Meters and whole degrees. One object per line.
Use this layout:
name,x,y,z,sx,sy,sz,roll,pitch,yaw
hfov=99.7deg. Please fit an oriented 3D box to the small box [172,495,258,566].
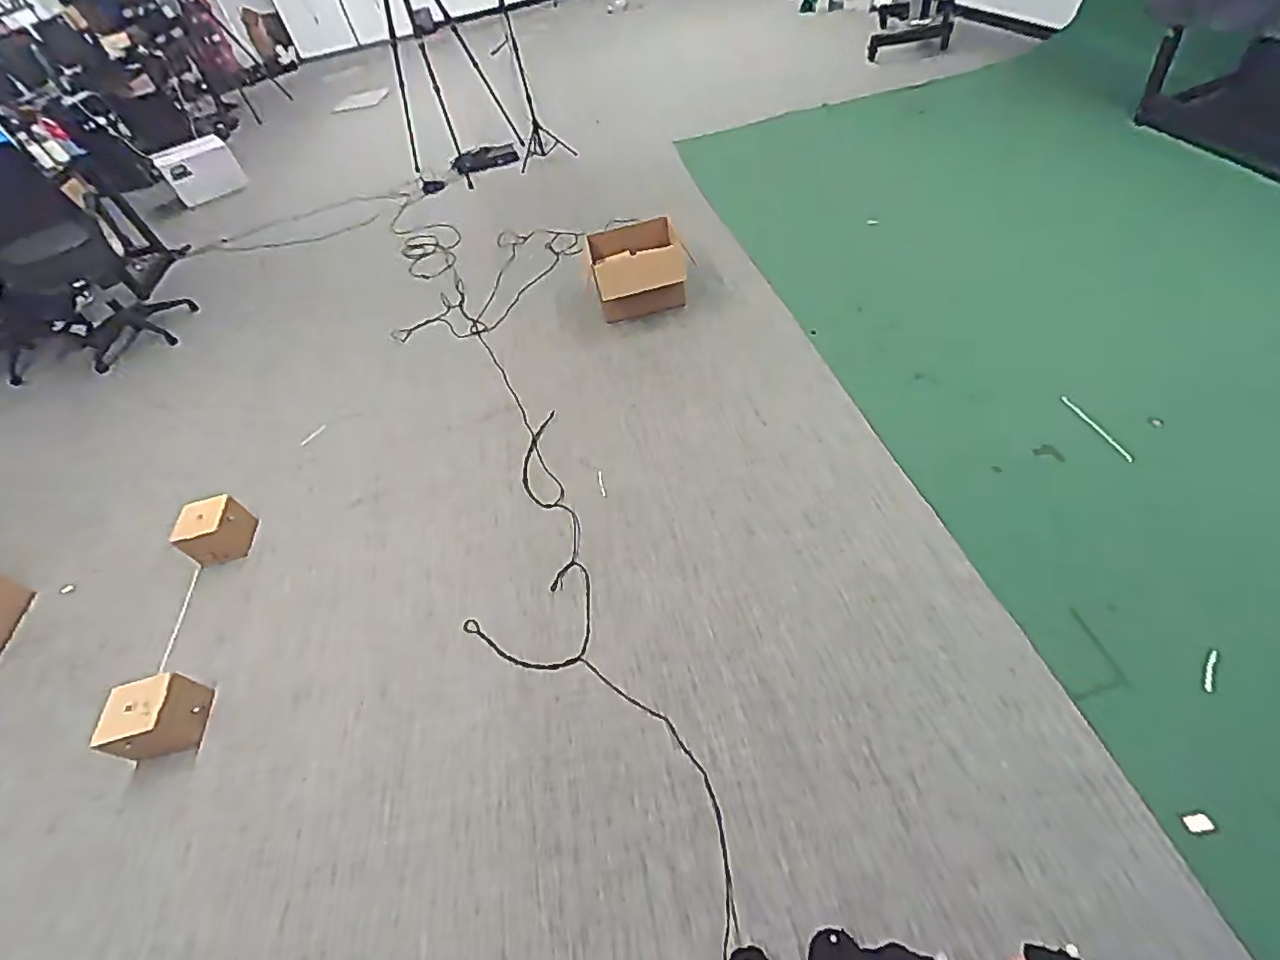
small box,-1.551,0.187,1.988,0.168,0.176,0.179,-15,50,-2

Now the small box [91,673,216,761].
small box,-1.380,0.683,1.546,0.179,0.176,0.168,-16,50,-2
